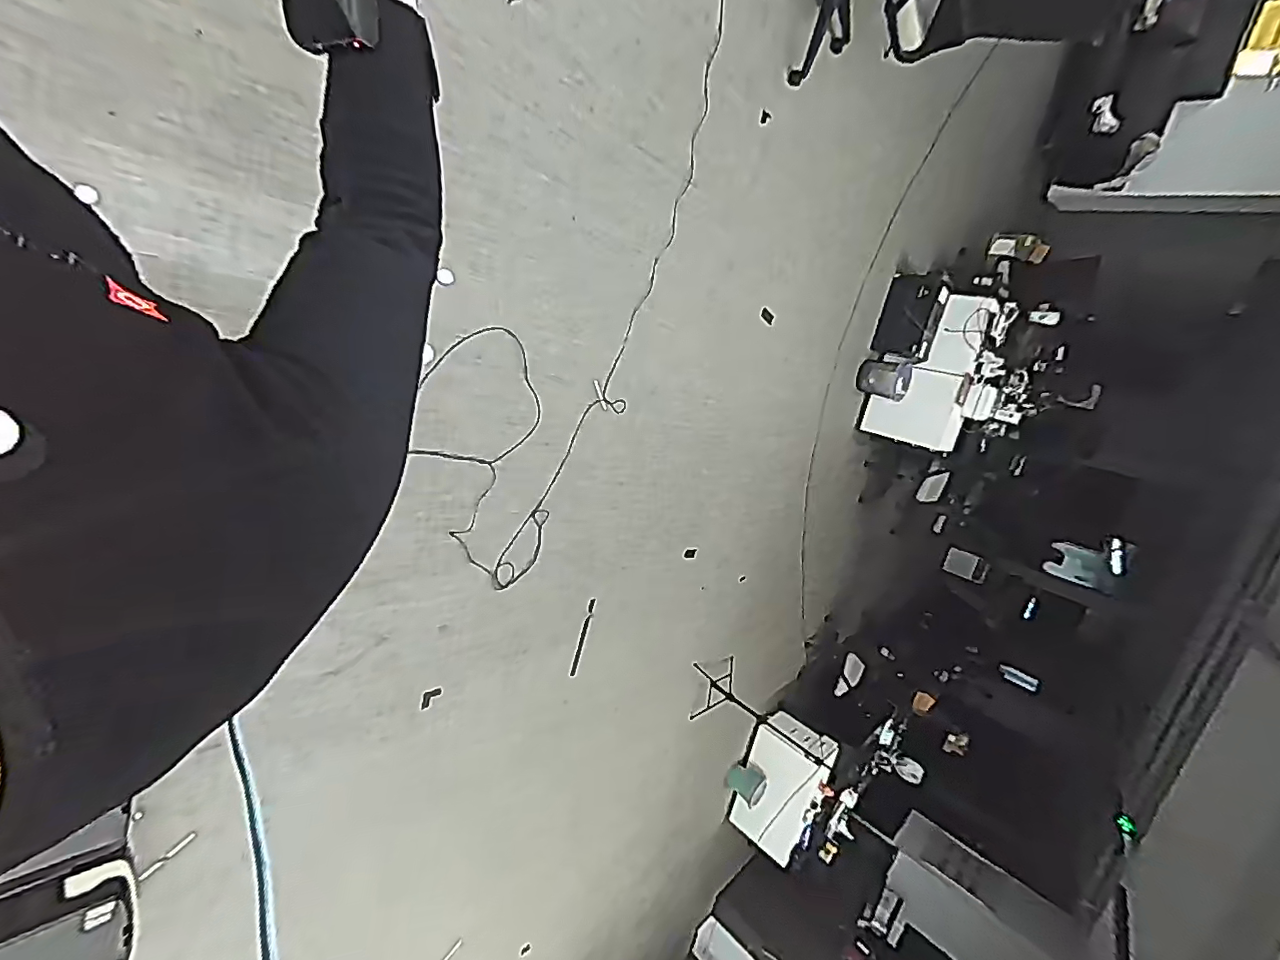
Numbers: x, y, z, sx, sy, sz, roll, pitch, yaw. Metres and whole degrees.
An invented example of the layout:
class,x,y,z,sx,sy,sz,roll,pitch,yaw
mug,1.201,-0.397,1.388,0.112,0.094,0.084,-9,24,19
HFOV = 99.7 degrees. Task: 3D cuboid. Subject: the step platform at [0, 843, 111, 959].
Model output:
class,x,y,z,sx,sy,sz,roll,pitch,yaw
step platform,-1.516,1.051,1.062,0.684,0.204,0.286,-3,111,-47
